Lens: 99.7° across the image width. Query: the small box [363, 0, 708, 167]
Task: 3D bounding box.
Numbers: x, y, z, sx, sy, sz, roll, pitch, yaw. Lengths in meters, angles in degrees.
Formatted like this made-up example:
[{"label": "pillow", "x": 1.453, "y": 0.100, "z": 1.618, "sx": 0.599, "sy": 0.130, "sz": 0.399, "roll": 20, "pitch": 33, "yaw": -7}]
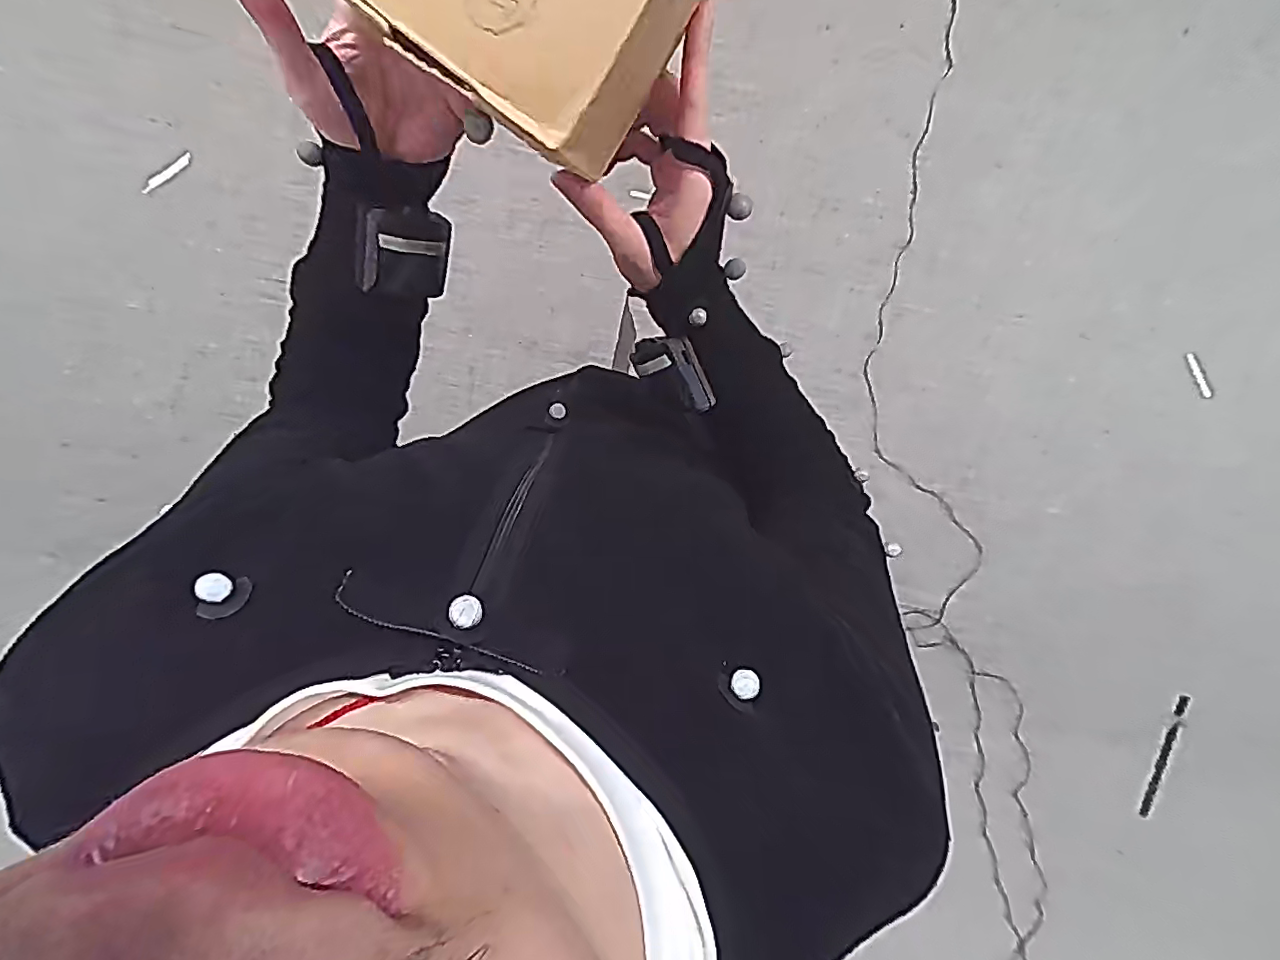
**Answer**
[{"label": "small box", "x": -0.040, "y": -0.251, "z": 0.208, "sx": 0.168, "sy": 0.176, "sz": 0.179, "roll": 31, "pitch": 111, "yaw": -16}]
